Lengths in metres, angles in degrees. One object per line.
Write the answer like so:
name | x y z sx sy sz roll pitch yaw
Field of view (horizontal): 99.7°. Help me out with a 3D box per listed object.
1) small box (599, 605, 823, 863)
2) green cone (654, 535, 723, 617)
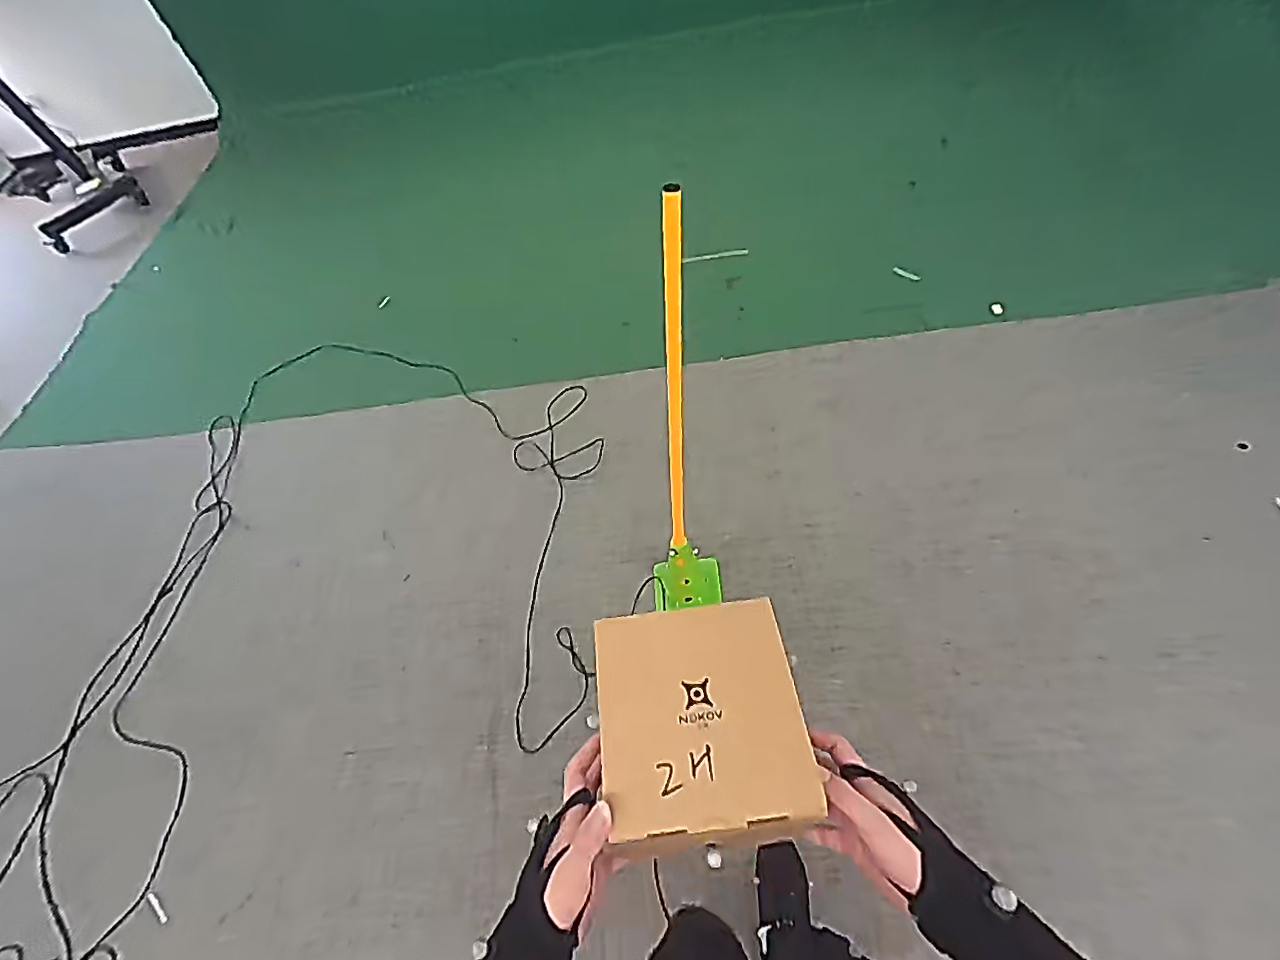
small box | 0.054 0.243 0.513 0.168 0.176 0.179 -7 50 0
green cone | 0.120 0.247 1.507 0.202 0.368 0.200 -7 57 6
